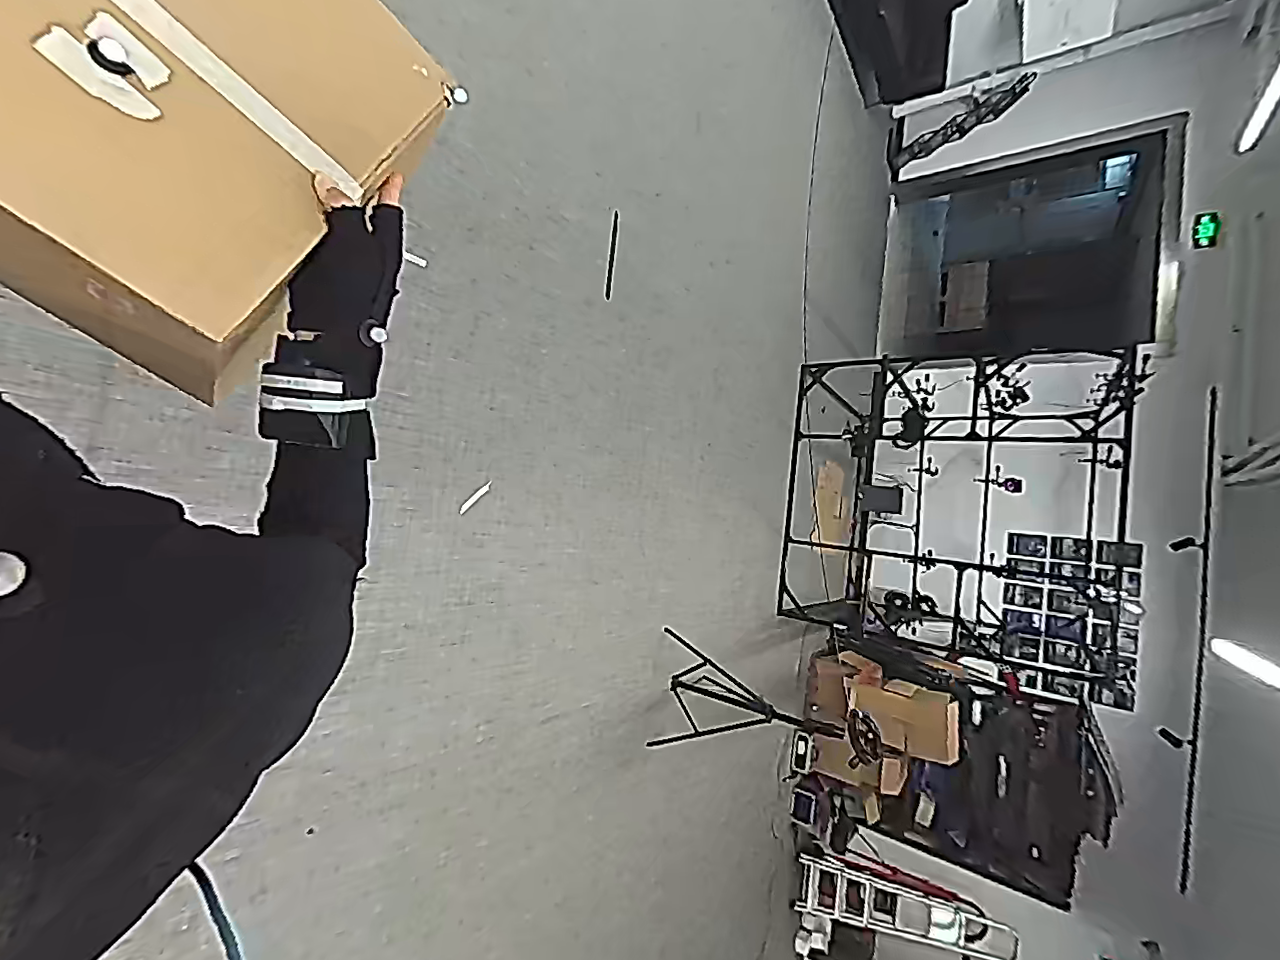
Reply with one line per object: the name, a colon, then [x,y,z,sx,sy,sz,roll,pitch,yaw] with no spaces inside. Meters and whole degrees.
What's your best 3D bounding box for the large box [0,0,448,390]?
large box: [-0.463,-0.337,0.456,0.408,0.320,0.320,40,65,-32]
